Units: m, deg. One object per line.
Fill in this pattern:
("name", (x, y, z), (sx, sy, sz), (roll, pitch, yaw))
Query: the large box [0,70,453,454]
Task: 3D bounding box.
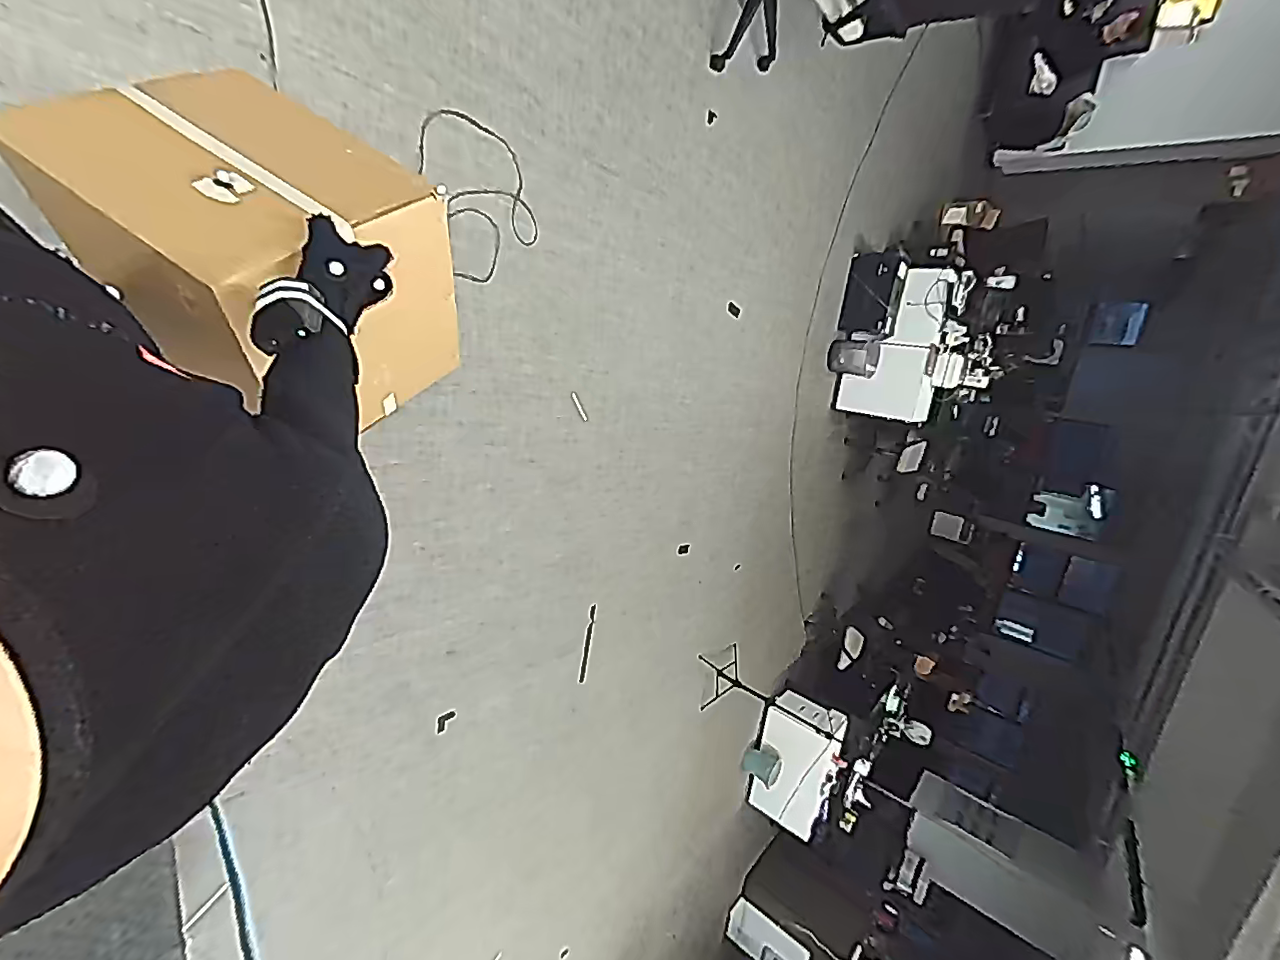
("large box", (-0.538, -0.315, 0.789), (0.320, 0.408, 0.320), (-49, 168, -34))
